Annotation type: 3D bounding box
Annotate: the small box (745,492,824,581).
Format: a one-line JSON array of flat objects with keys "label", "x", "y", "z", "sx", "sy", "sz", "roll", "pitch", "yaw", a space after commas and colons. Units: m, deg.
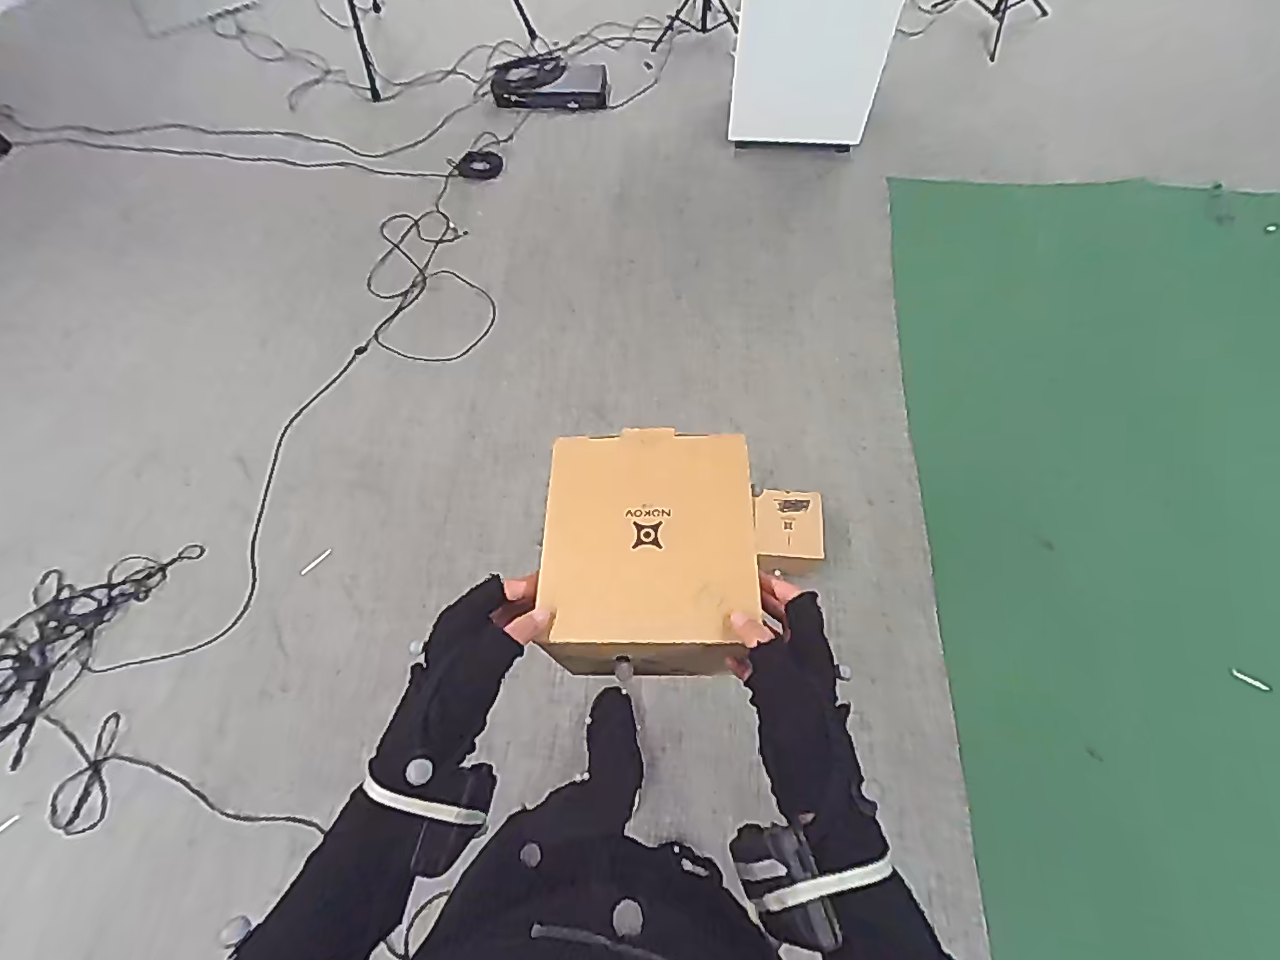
[{"label": "small box", "x": 0.365, "y": 0.148, "z": 1.392, "sx": 0.168, "sy": 0.176, "sz": 0.179, "roll": 4, "pitch": 65, "yaw": 4}]
